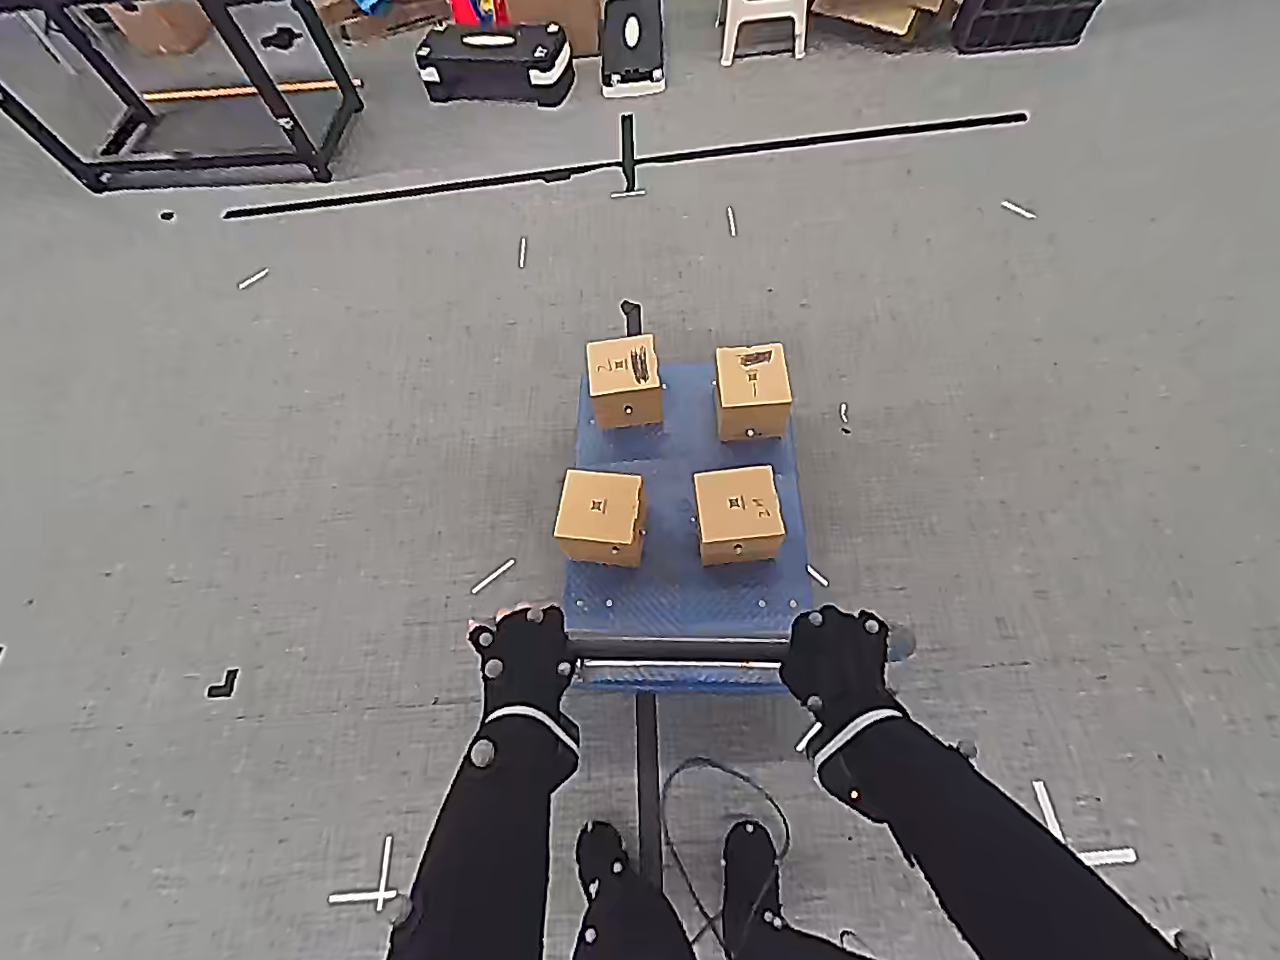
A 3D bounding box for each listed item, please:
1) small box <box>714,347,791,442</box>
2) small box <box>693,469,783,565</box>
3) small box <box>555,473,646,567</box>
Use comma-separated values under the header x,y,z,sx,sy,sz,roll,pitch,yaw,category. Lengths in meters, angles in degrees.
x,y,z,sx,sy,sz,roll,pitch,yaw,category
0.280,-0.214,1.381,0.168,0.176,0.179,-4,65,4,small box
0.218,0.091,1.243,0.179,0.176,0.168,-6,65,3,small box
-0.084,0.098,1.271,0.179,0.176,0.168,5,65,6,small box
